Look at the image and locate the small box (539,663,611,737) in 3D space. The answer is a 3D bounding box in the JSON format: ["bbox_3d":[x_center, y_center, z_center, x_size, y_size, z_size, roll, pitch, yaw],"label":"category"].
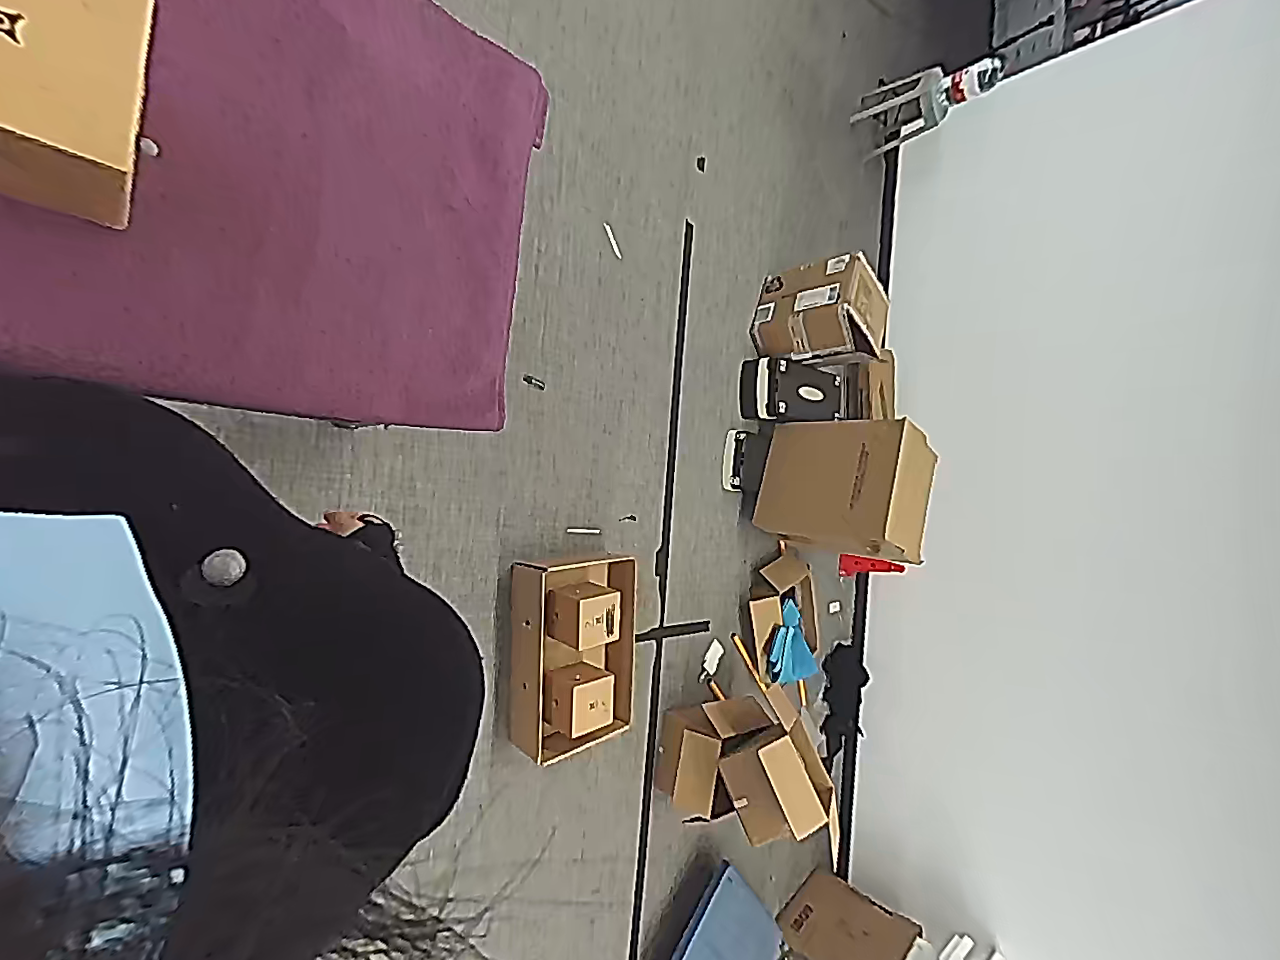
[{"bbox_3d":[-0.220,0.728,1.807,0.179,0.176,0.168,2,91,-46],"label":"small box"}]

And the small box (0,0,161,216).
[{"bbox_3d":[-0.550,-0.358,0.472,0.179,0.176,0.168,8,87,-44],"label":"small box"}]
